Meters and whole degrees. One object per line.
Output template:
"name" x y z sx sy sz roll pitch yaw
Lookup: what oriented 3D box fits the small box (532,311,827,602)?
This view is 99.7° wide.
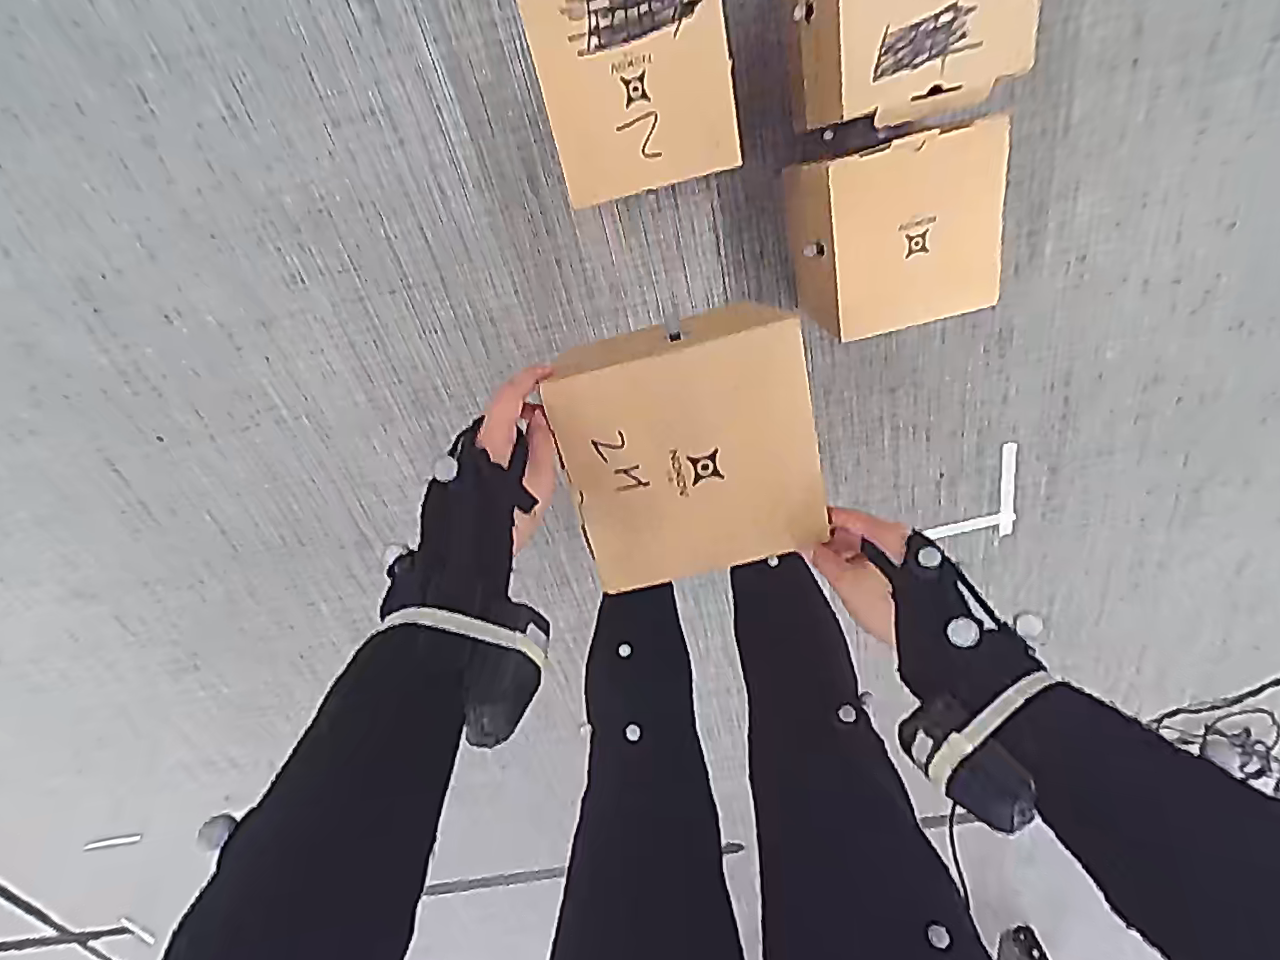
"small box" 0.029 -0.032 0.437 0.179 0.176 0.168 -14 110 3
